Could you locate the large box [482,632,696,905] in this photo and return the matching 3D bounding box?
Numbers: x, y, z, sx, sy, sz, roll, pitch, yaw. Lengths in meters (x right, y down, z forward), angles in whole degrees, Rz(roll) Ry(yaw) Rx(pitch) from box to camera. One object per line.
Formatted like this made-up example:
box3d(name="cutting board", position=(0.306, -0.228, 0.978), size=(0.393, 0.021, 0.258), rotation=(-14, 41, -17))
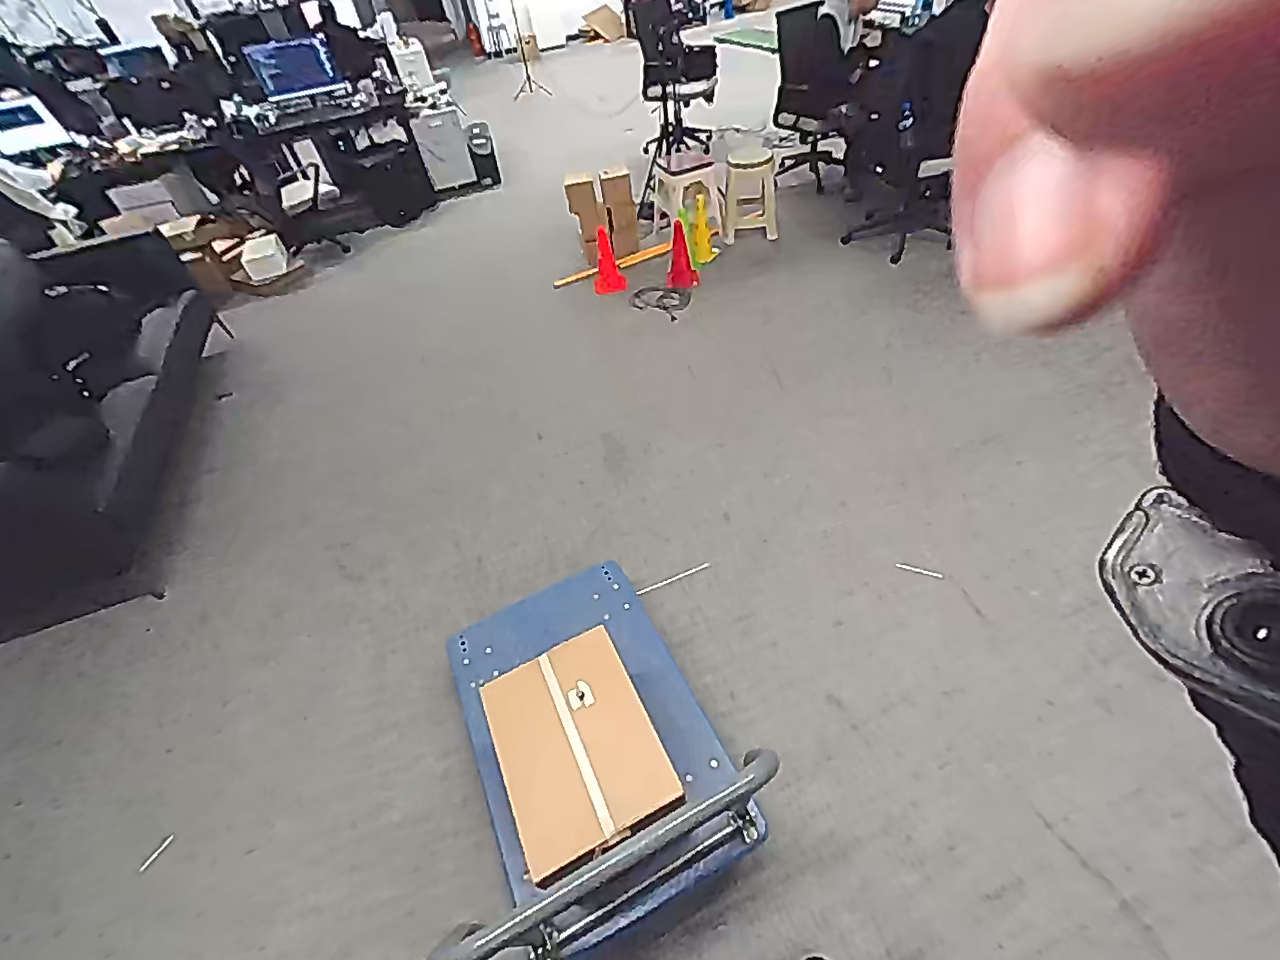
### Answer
box3d(name="large box", position=(-0.112, 0.642, 1.224), size=(0.320, 0.320, 0.408), rotation=(-24, 47, -13))
